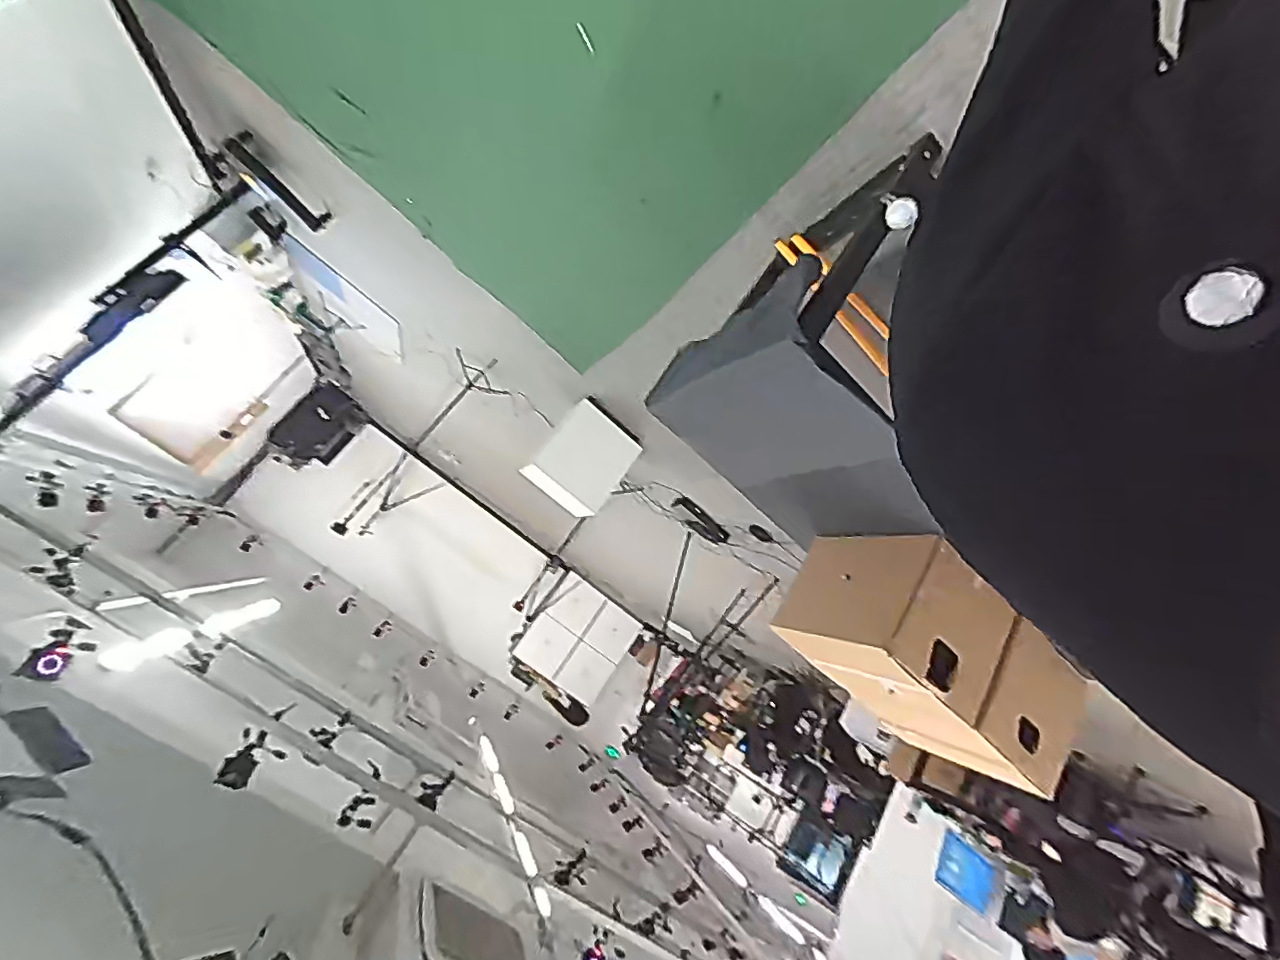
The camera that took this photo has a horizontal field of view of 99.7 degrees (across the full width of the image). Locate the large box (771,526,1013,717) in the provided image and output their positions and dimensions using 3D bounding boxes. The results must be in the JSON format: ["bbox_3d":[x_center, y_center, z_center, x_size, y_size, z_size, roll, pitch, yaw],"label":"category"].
[{"bbox_3d":[0.622,0.336,1.376,0.320,0.320,0.408,40,159,-14],"label":"large box"}]
